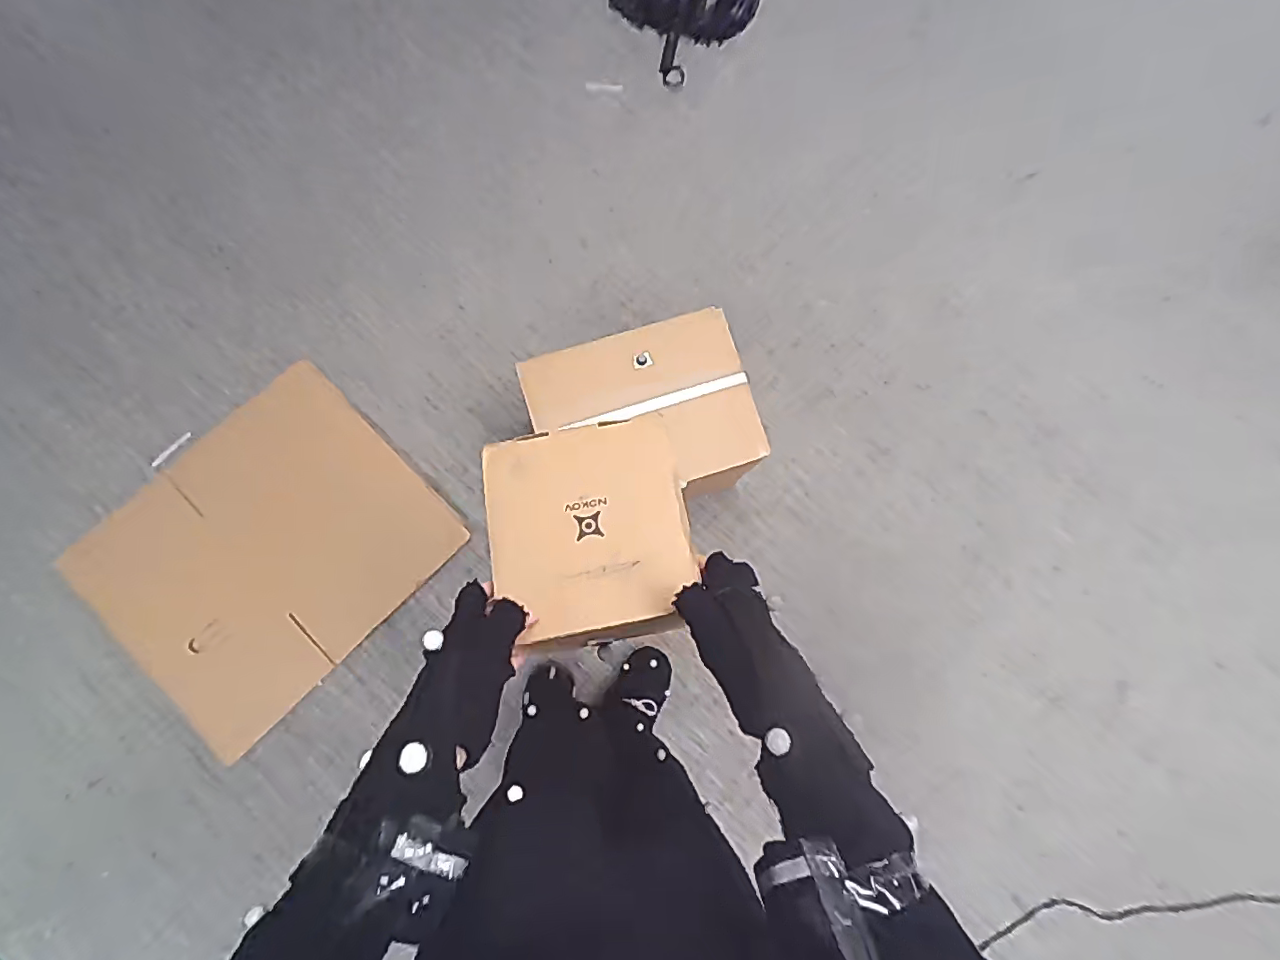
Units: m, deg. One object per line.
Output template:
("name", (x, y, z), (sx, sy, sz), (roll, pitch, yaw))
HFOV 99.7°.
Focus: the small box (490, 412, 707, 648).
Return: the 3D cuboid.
("small box", (-0.039, 0.059, 0.536), (0.168, 0.176, 0.179), (-12, 70, -2))
